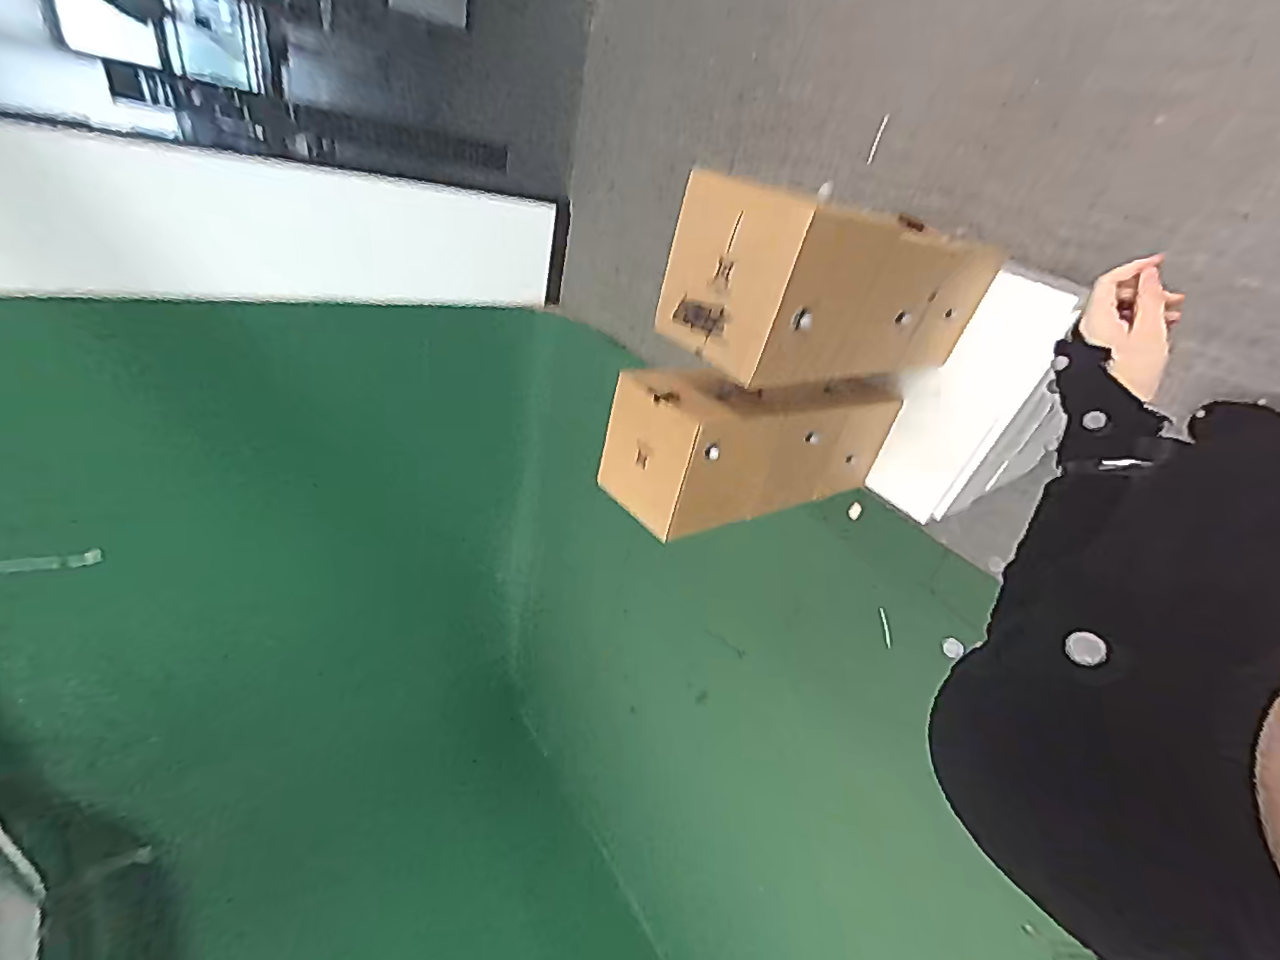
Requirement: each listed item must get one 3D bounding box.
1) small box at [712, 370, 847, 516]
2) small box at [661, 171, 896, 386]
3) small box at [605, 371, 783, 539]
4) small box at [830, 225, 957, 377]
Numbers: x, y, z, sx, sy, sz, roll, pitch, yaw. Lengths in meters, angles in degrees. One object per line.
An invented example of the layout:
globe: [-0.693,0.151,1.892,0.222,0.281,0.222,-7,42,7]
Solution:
small box: [0.203,-0.069,0.870,0.168,0.176,0.179,39,127,40]
small box: [0.153,-0.226,0.615,0.168,0.176,0.179,42,131,36]
small box: [0.075,-0.045,0.772,0.168,0.176,0.179,39,126,39]
small box: [0.276,-0.256,0.720,0.179,0.176,0.168,43,132,36]
